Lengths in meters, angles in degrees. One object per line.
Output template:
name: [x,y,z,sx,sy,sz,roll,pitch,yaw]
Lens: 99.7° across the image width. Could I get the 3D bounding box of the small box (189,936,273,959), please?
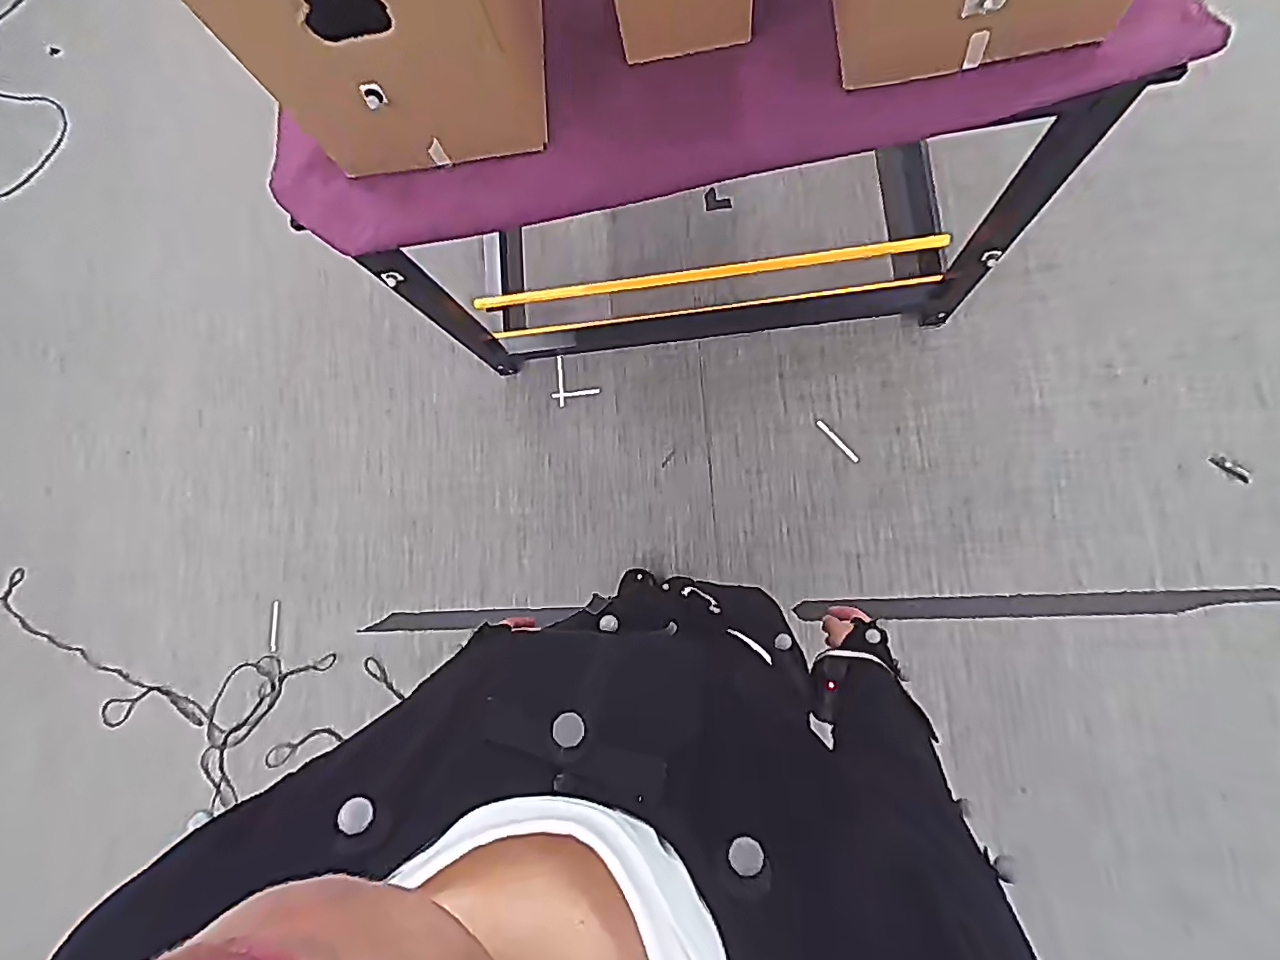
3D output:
small box: [-1.037,1.259,1.317,0.179,0.176,0.168,-11,80,7]
